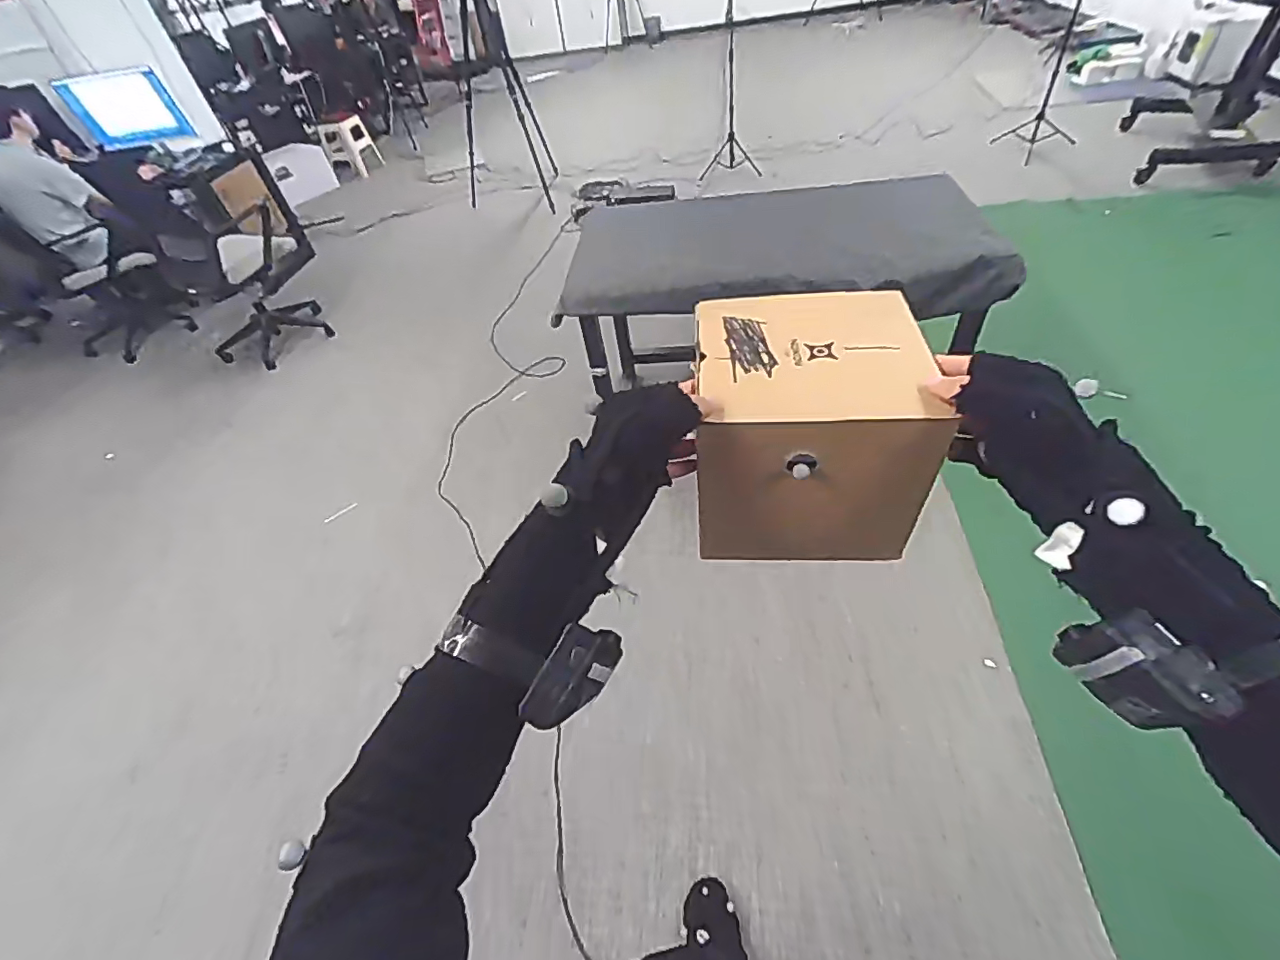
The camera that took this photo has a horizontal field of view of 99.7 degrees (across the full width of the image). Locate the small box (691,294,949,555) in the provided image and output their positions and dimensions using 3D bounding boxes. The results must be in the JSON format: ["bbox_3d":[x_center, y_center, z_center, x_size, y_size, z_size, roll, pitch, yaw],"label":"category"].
[{"bbox_3d":[0.137,-0.046,0.483,0.179,0.176,0.168,0,48,7],"label":"small box"}]
